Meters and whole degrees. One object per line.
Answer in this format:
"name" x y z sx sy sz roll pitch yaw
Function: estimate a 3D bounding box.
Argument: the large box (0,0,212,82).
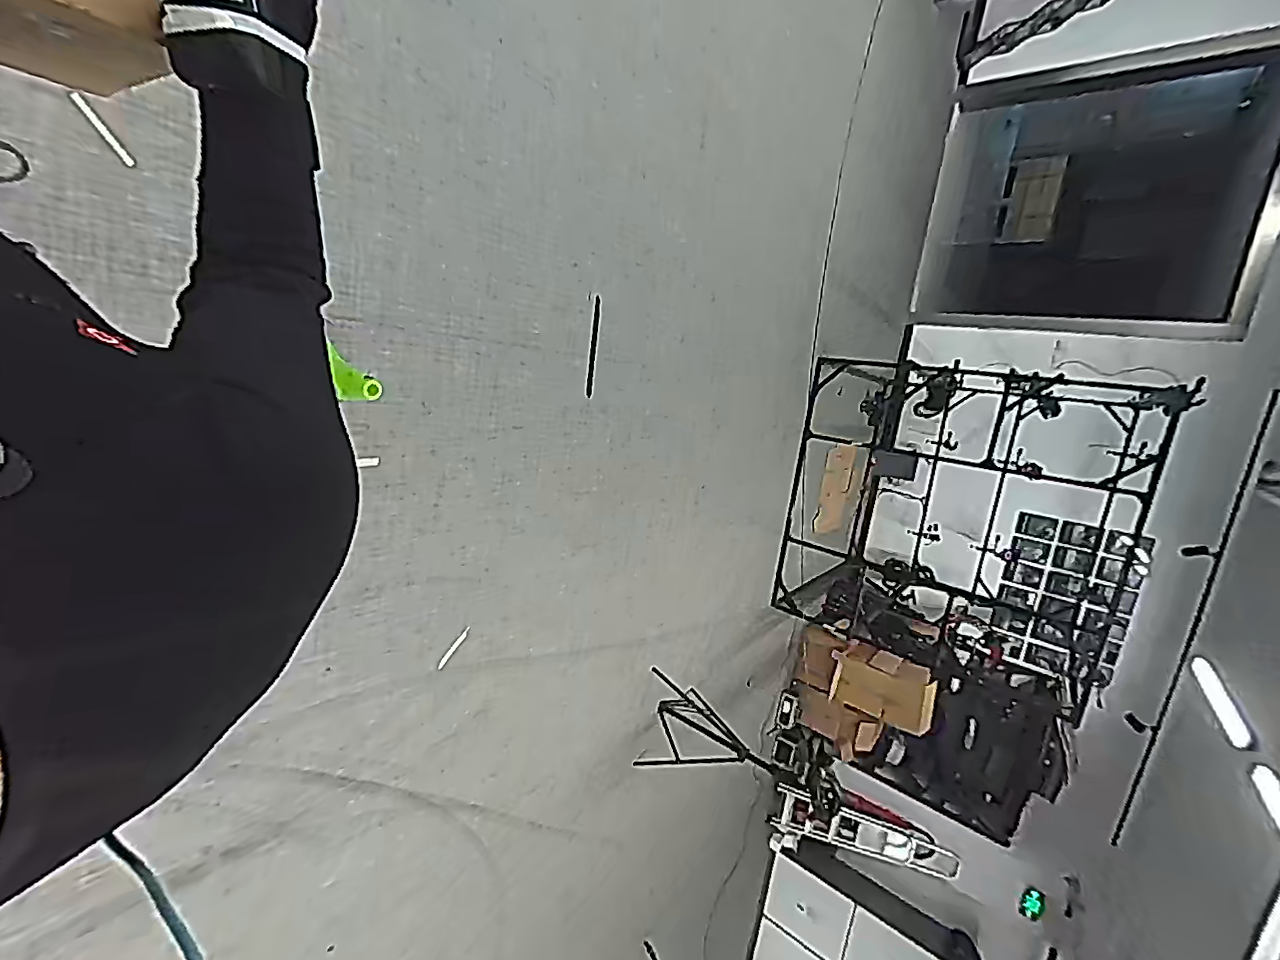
"large box" -0.507 -0.461 0.253 0.408 0.320 0.320 -12 118 -53
